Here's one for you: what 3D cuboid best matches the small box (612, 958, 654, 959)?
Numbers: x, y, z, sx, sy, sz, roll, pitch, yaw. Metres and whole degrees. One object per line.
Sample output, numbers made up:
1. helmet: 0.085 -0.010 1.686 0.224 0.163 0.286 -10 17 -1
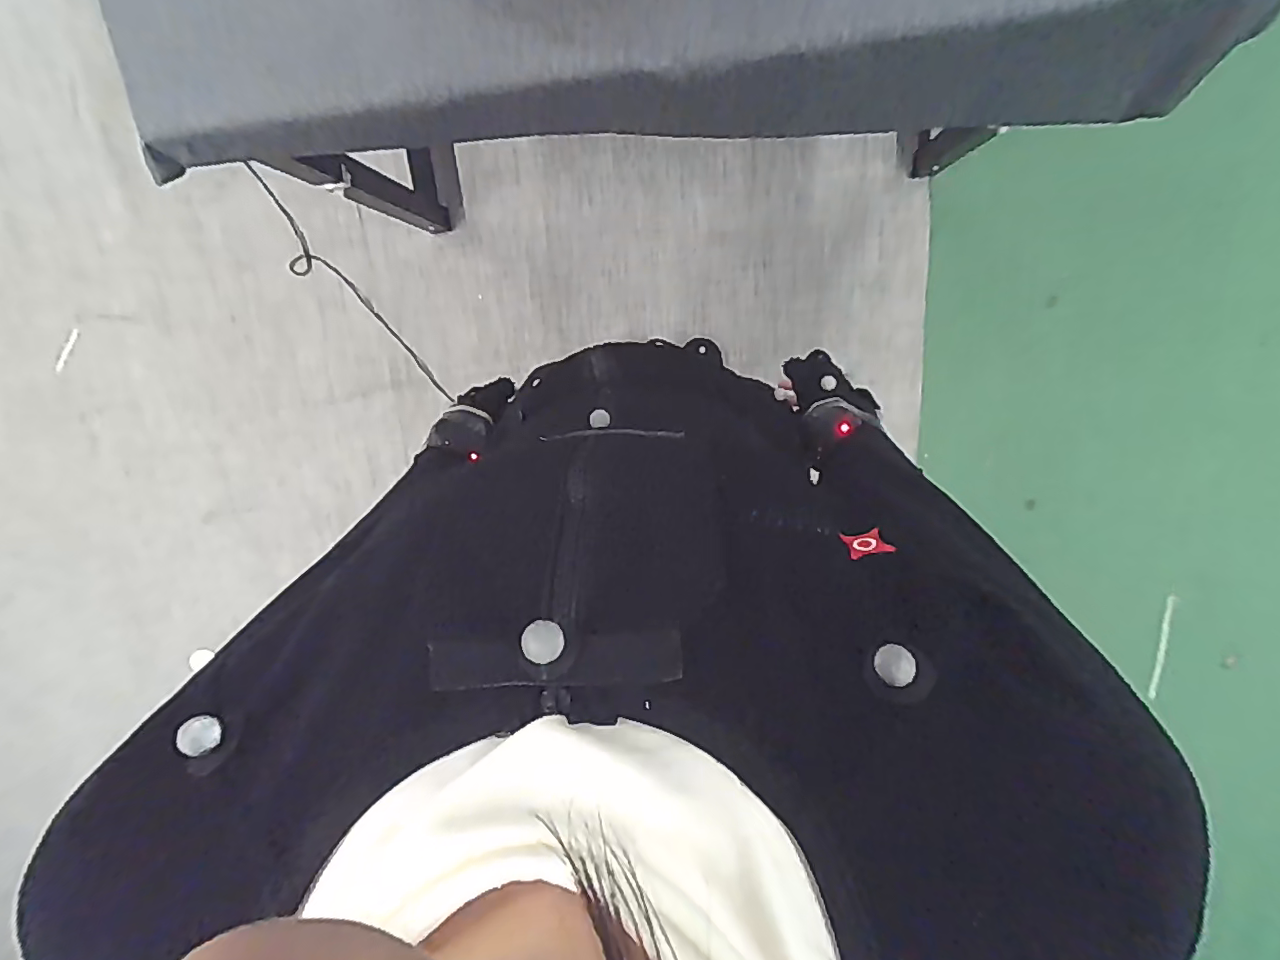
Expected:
1. small box: -0.034 1.786 1.853 0.179 0.176 0.168 -4 105 3
